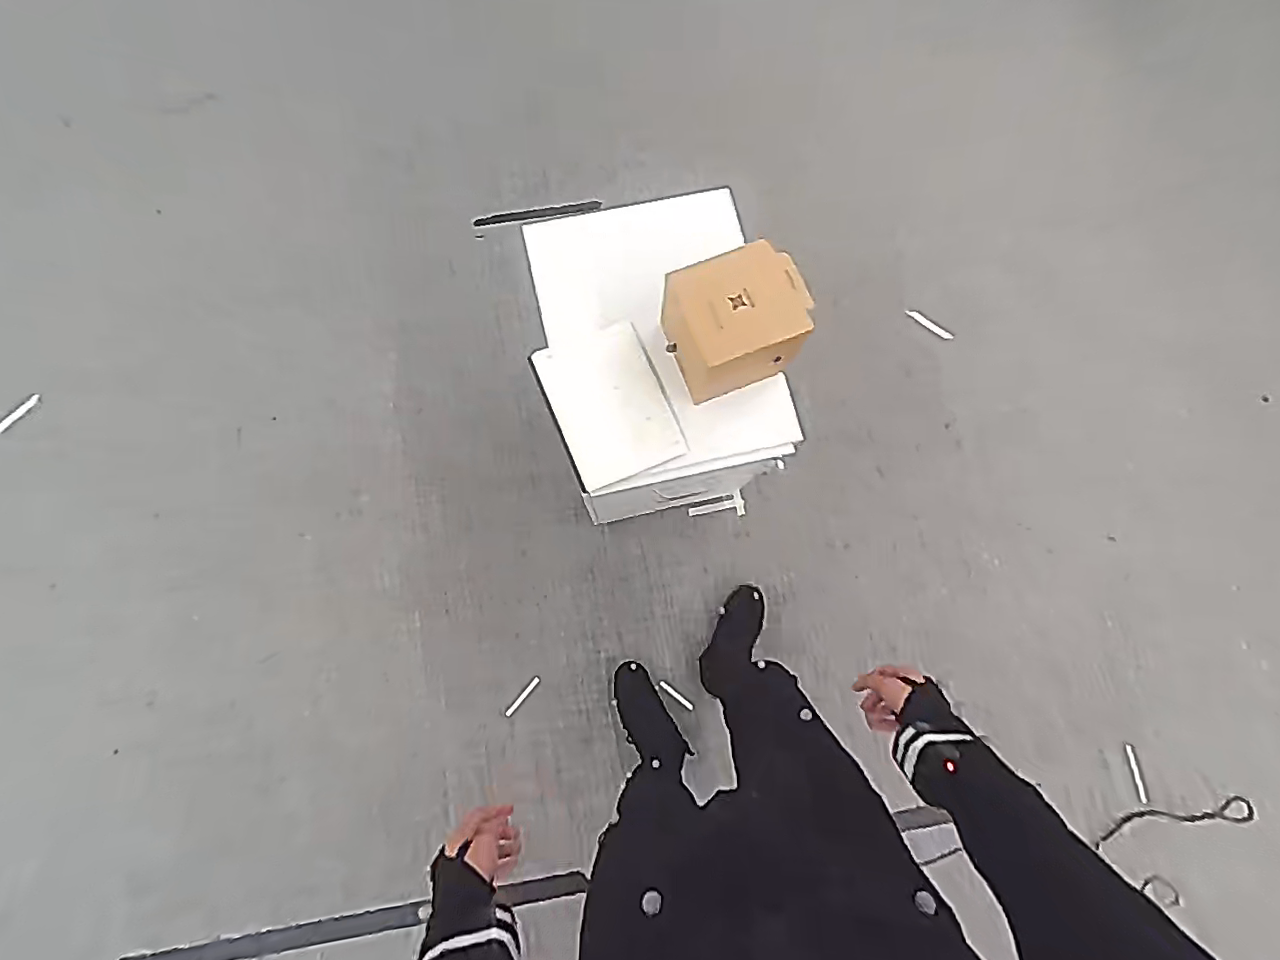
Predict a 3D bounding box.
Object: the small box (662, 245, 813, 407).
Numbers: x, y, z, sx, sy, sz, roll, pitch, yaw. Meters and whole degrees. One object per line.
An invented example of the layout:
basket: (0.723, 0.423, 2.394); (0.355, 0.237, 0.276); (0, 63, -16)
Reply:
small box: (0.147, -0.242, 0.885); (0.179, 0.176, 0.168); (-21, 80, -5)
